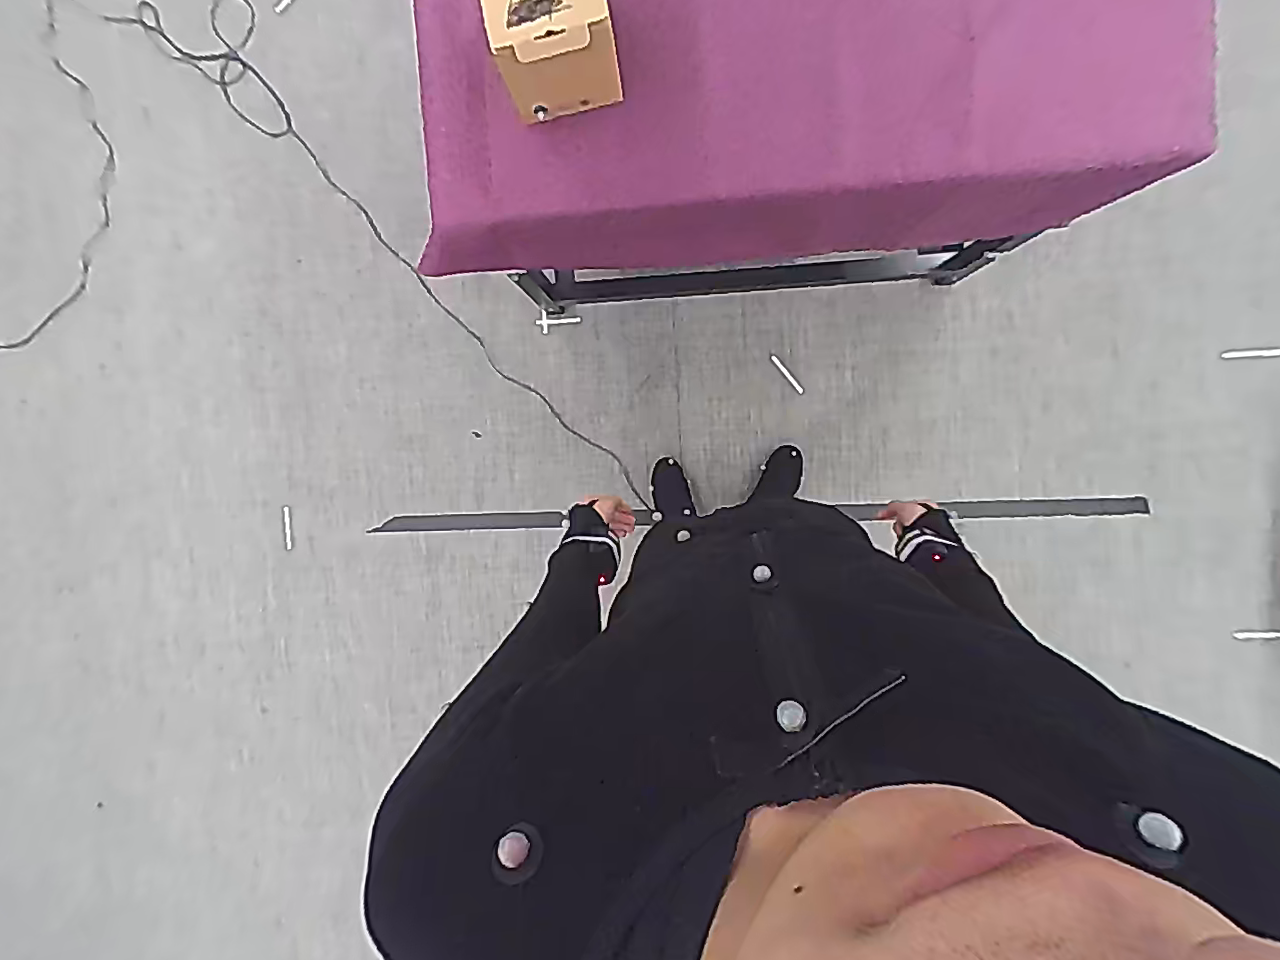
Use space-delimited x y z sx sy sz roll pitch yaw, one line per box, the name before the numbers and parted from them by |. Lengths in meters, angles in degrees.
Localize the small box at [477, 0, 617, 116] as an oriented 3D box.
small box | -0.134 -0.671 0.789 0.168 0.176 0.179 -12 92 4
